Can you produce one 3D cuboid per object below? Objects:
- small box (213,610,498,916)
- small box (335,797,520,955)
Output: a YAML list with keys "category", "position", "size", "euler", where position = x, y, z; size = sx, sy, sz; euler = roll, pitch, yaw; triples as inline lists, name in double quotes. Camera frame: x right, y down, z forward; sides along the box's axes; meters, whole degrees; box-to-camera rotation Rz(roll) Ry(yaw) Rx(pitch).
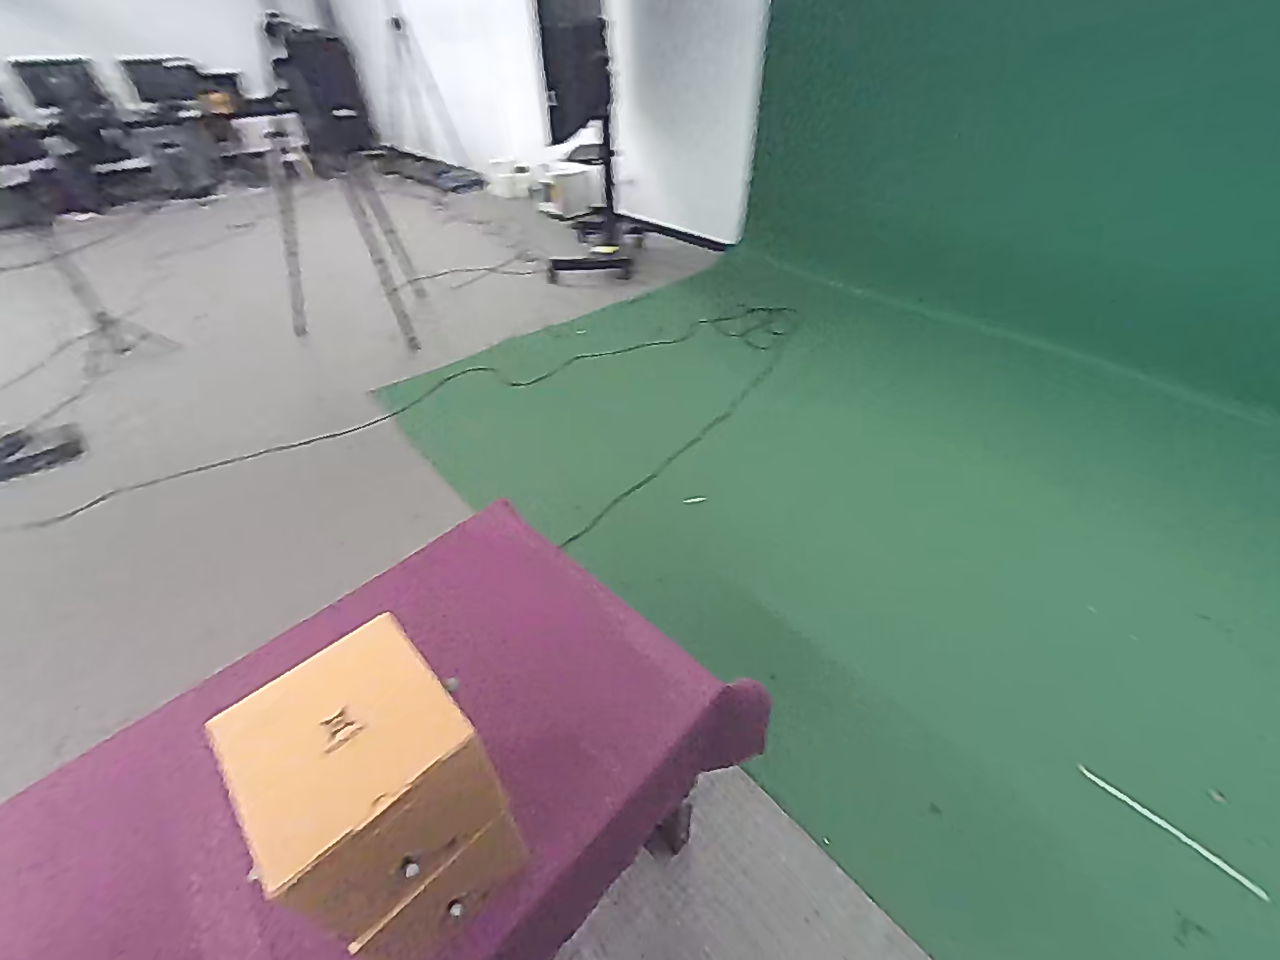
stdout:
- category: "small box"
  position: [-0.262, 0.270, 0.525]
  size: [0.168, 0.176, 0.179]
  euler: [-33, 52, -31]
- category: "small box"
  position: [-0.259, 0.399, 0.626]
  size: [0.168, 0.176, 0.179]
  euler: [-33, 50, -32]
